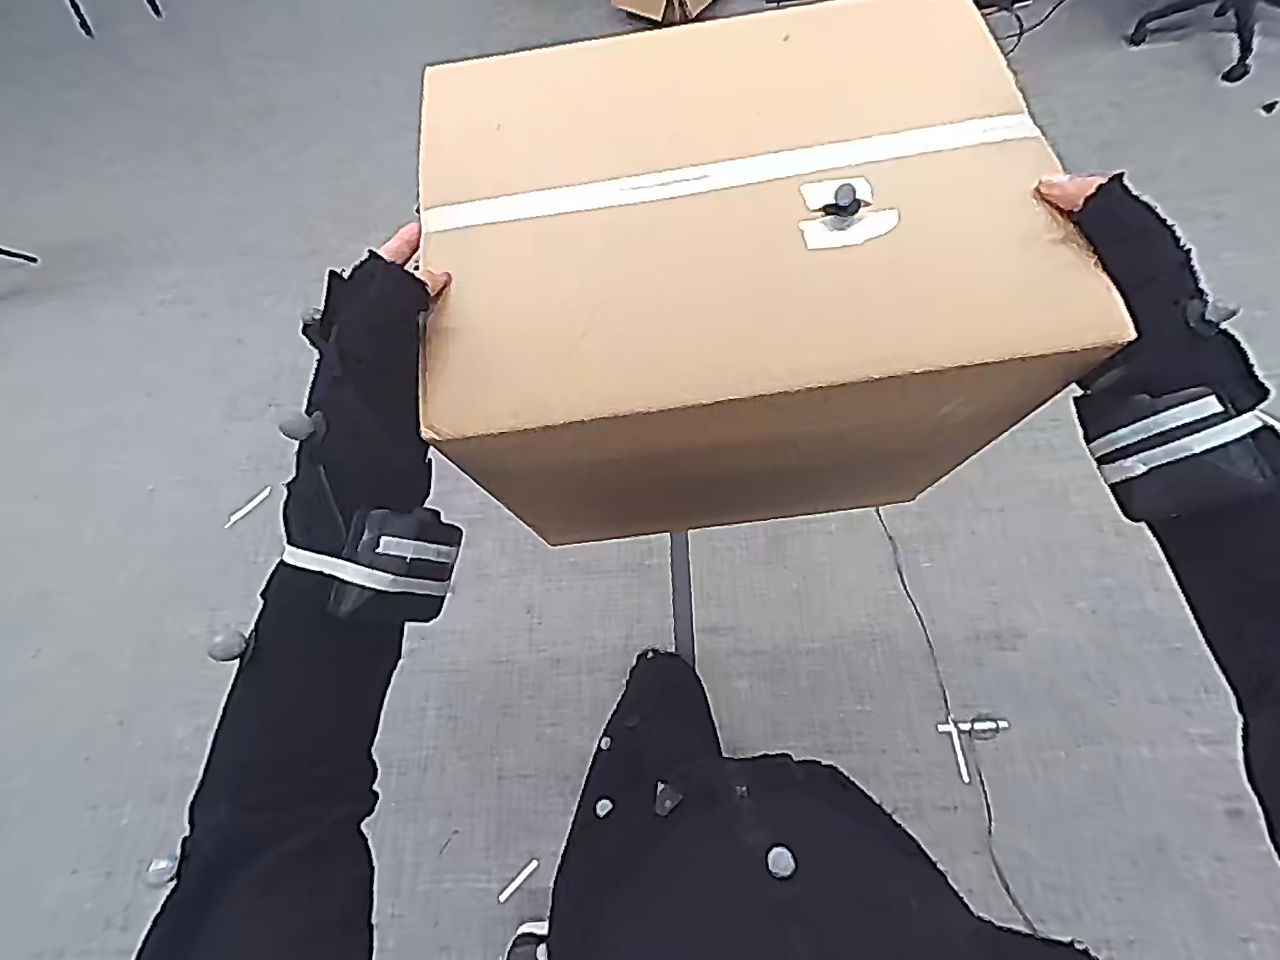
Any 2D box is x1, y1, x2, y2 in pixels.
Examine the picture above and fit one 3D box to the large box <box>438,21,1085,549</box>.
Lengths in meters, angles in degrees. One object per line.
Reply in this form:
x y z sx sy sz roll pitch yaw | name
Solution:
0.063 -0.141 0.518 0.408 0.320 0.320 -8 70 2 | large box
